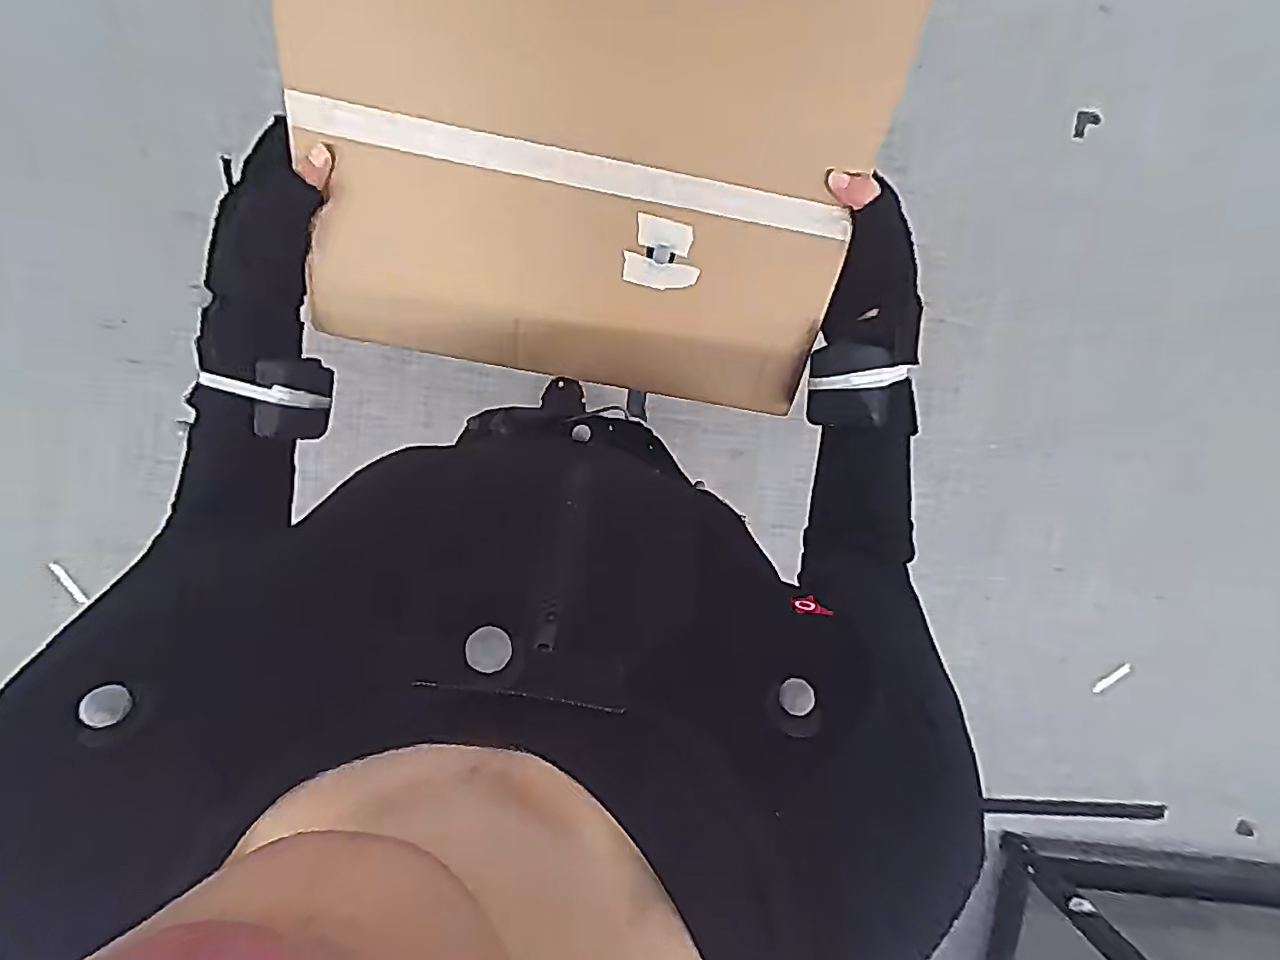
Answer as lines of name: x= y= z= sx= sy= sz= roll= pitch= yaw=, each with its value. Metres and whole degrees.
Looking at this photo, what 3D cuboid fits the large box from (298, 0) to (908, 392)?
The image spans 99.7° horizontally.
large box: x=-0.043 y=-0.309 z=0.529 sx=0.408 sy=0.320 sz=0.320 roll=8 pitch=120 yaw=-6
